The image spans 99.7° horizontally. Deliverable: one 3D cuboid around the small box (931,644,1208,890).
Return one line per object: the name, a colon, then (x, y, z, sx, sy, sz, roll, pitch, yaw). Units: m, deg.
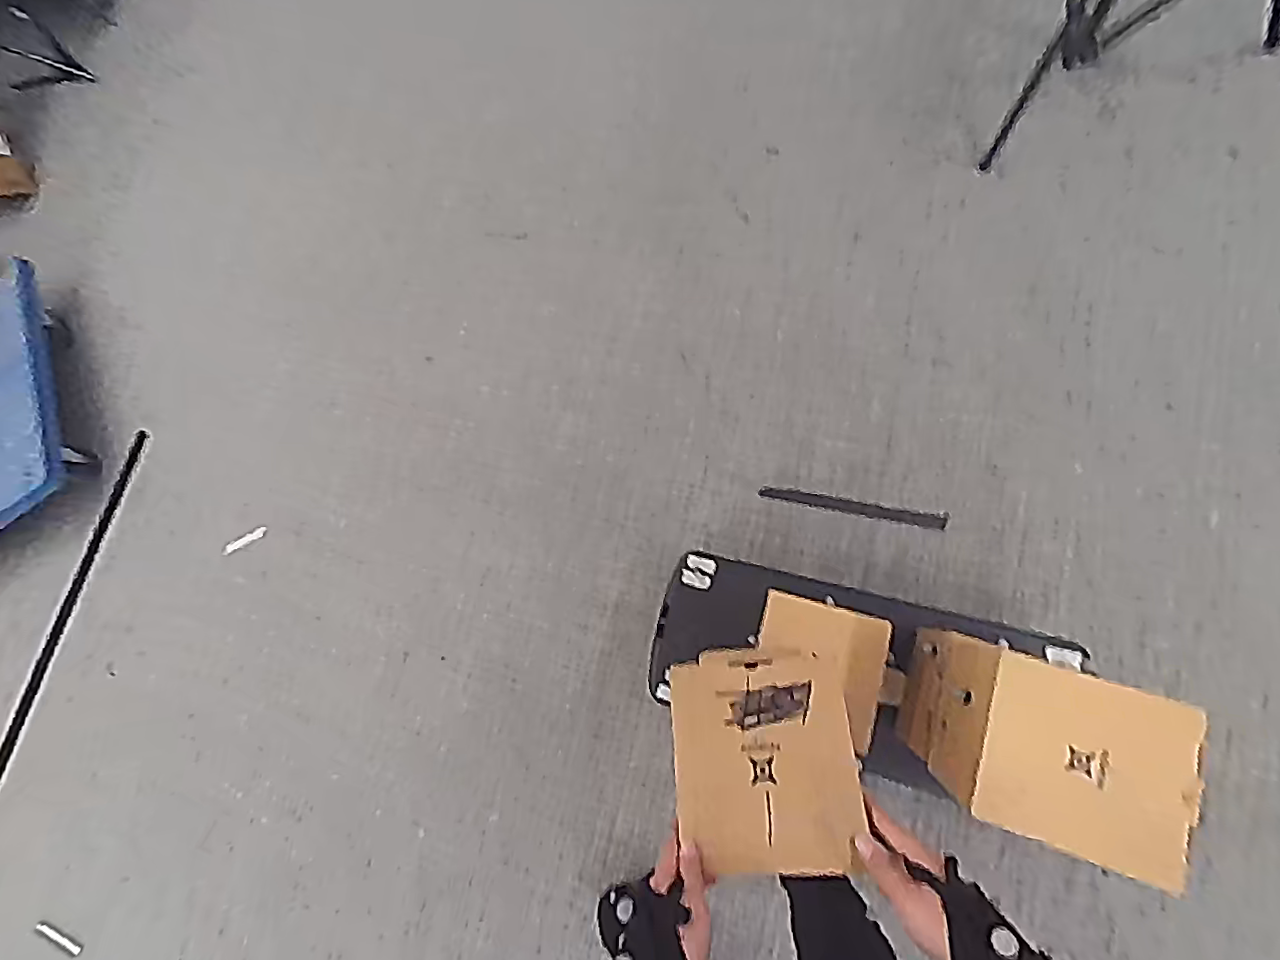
small box: (0.443, 0.287, 0.590, 0.179, 0.176, 0.168, 15, 81, 17)

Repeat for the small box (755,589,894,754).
small box: (0.260, 0.274, 0.810, 0.168, 0.176, 0.179, 14, 80, 17)

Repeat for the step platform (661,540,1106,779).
step platform: (0.384, 0.314, 0.953, 0.684, 0.204, 0.286, 12, 79, 17)

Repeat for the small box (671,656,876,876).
small box: (0.127, 0.292, 0.563, 0.168, 0.176, 0.179, -8, 62, 9)
